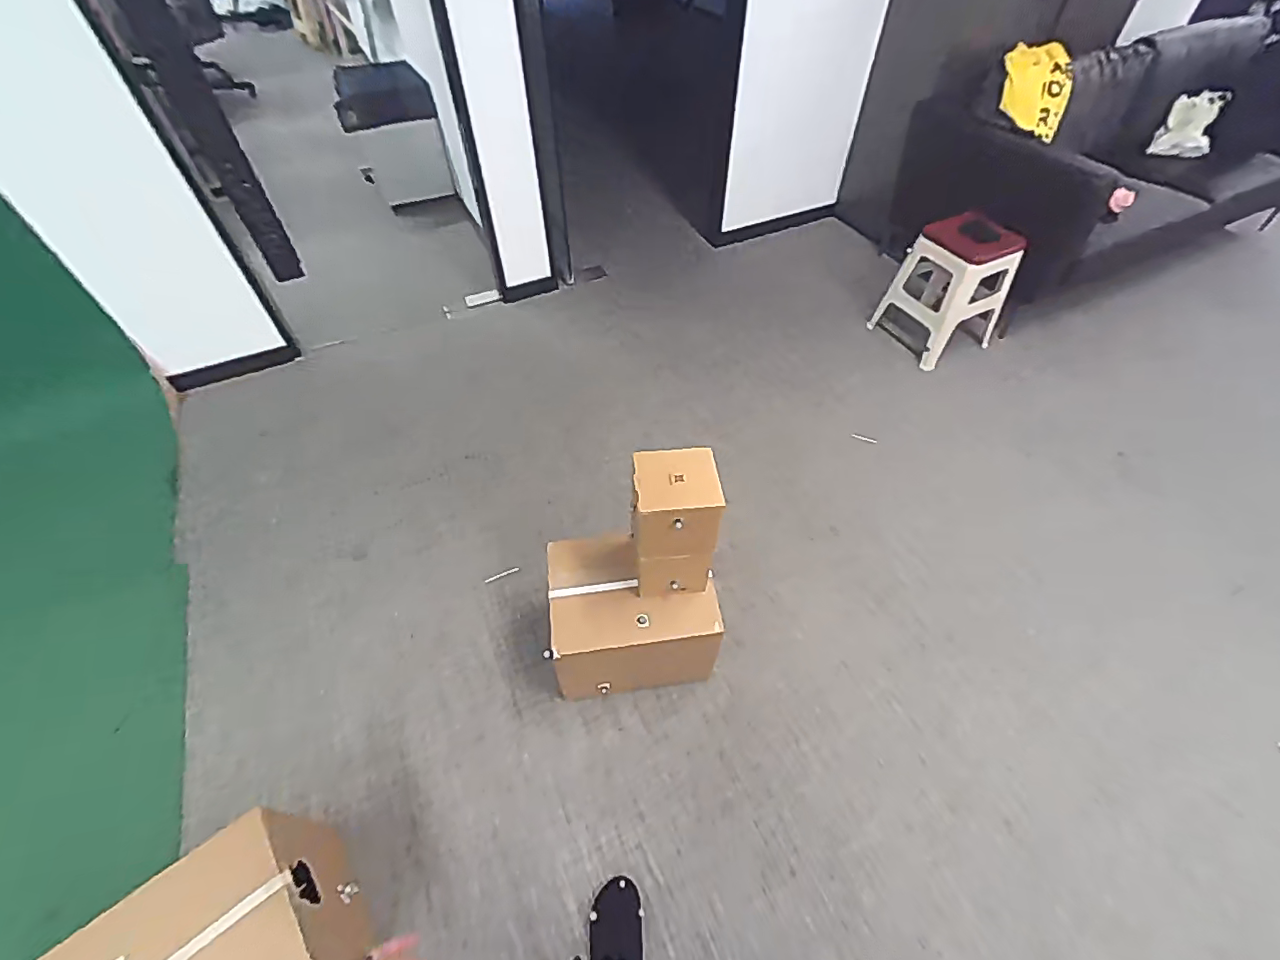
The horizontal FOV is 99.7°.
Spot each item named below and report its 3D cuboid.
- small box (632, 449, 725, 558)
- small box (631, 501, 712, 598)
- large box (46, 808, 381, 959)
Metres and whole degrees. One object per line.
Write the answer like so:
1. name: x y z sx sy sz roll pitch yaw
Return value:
1. small box: 0.076 0.053 1.174 0.179 0.176 0.168 -5 49 -3
2. small box: 0.068 0.159 1.297 0.168 0.176 0.179 -6 49 -4
3. large box: -0.780 0.905 1.000 0.408 0.320 0.320 -33 57 -23
